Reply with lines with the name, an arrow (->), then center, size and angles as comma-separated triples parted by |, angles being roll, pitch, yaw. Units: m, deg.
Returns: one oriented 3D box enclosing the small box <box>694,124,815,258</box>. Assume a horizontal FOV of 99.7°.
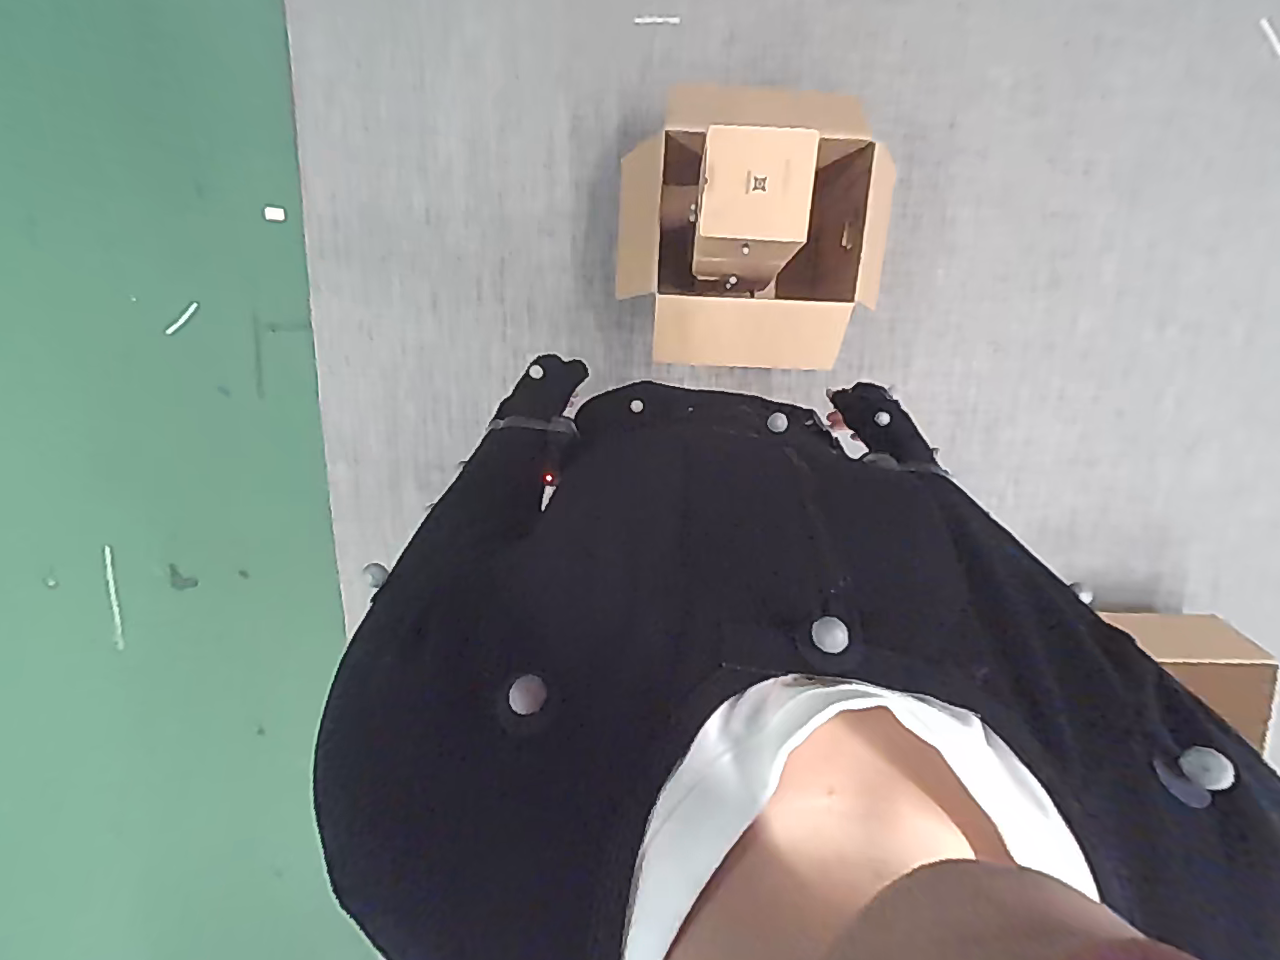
small box -> 0.187, -0.490, 0.938 | 0.179, 0.176, 0.168 | 3, 102, 2
